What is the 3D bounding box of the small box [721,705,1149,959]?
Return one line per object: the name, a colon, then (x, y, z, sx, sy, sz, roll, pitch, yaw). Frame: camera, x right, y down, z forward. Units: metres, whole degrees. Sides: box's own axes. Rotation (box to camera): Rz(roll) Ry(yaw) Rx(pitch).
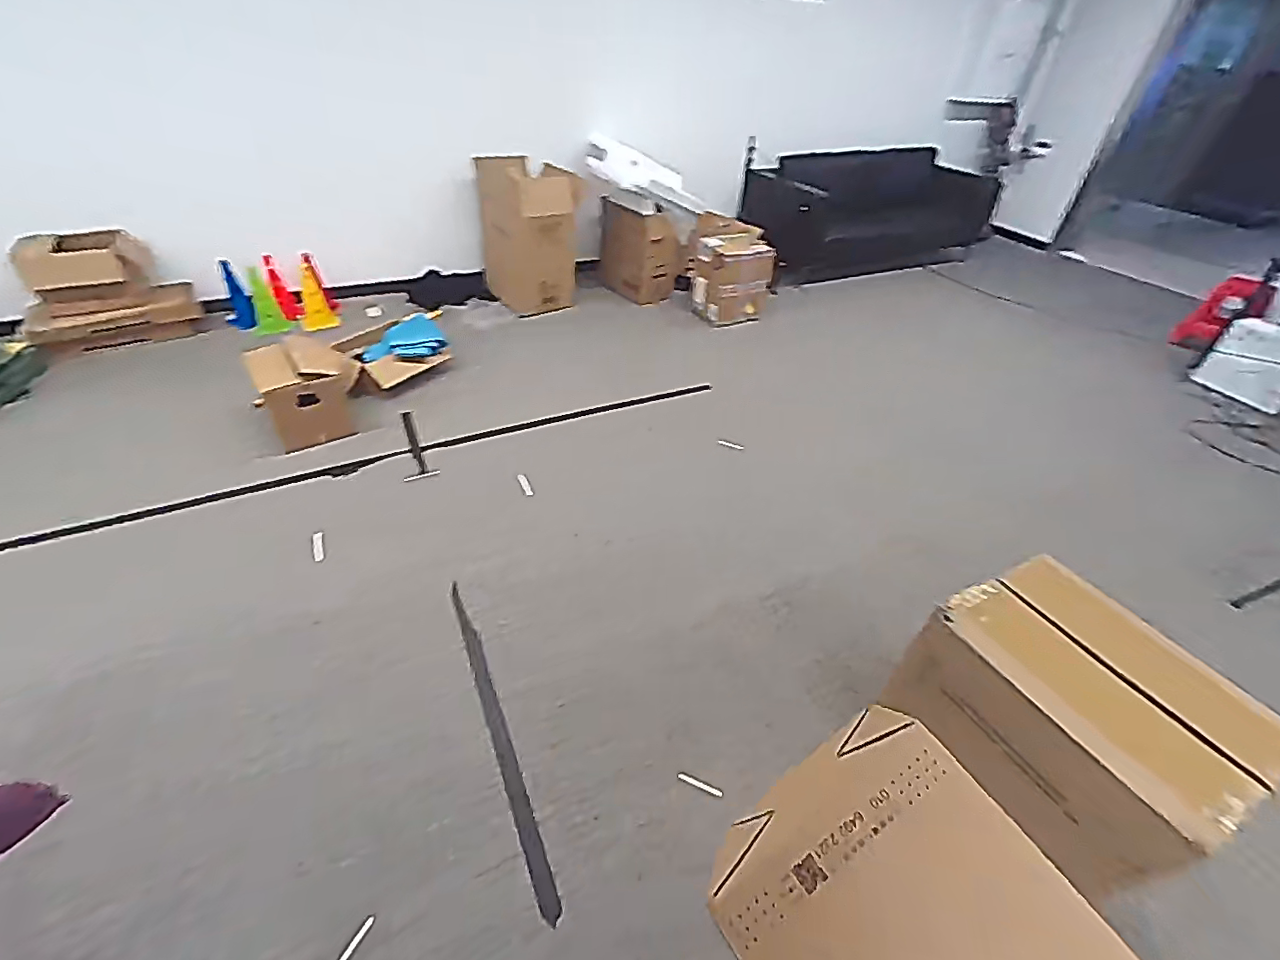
small box: (0.172, 0.270, 0.355, 0.168, 0.179, 0.176, -41, 67, -1)
